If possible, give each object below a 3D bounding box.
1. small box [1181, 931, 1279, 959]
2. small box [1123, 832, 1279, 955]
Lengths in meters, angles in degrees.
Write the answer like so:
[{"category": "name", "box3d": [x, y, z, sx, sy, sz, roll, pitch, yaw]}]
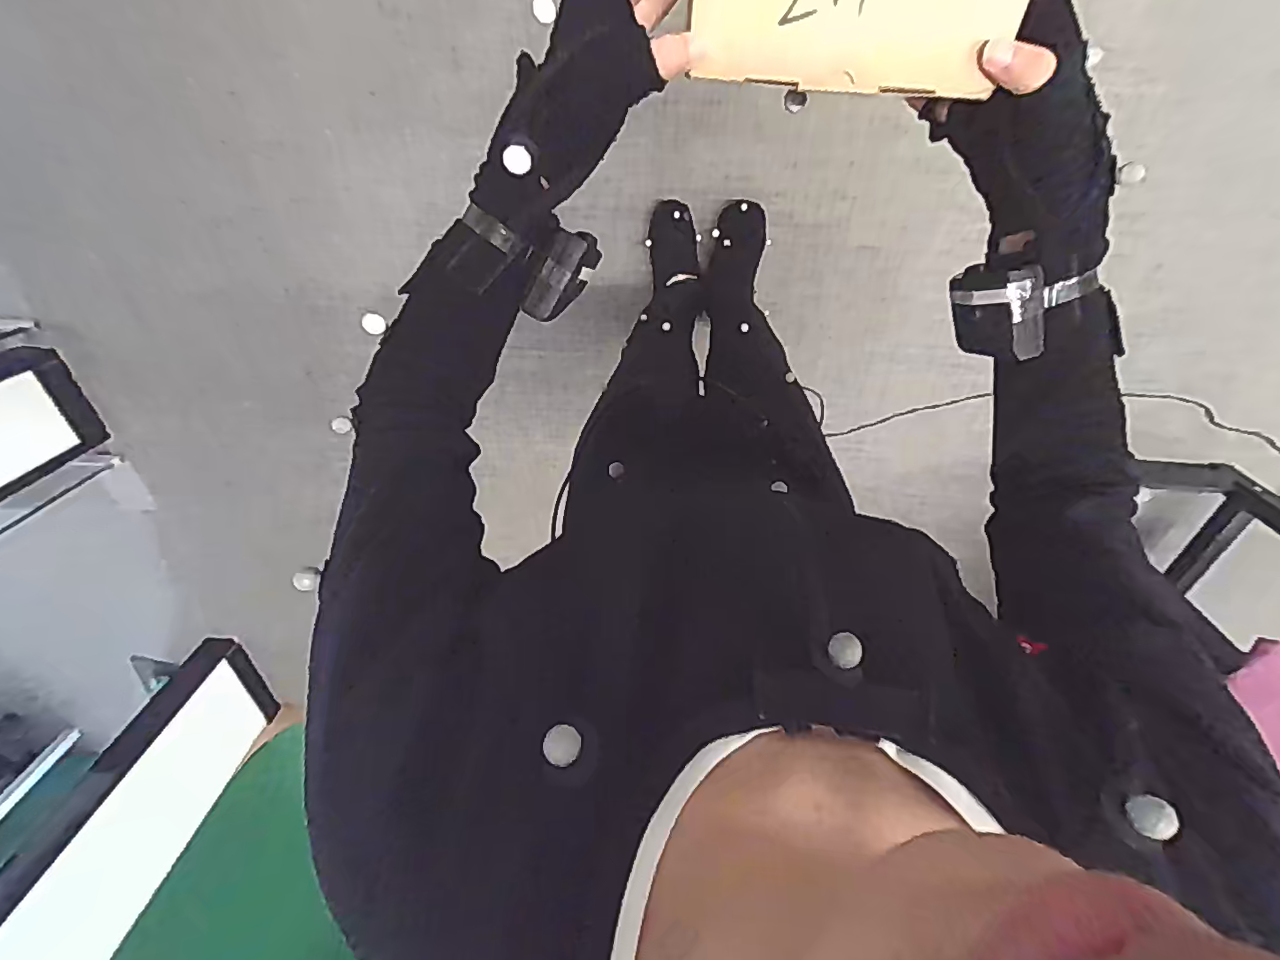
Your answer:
[{"category": "small box", "box3d": [1.168, 0.954, 0.986, 0.168, 0.176, 0.179, 6, 124, 0]}, {"category": "small box", "box3d": [1.177, 0.857, 1.115, 0.179, 0.176, 0.168, 8, 124, 0]}]
